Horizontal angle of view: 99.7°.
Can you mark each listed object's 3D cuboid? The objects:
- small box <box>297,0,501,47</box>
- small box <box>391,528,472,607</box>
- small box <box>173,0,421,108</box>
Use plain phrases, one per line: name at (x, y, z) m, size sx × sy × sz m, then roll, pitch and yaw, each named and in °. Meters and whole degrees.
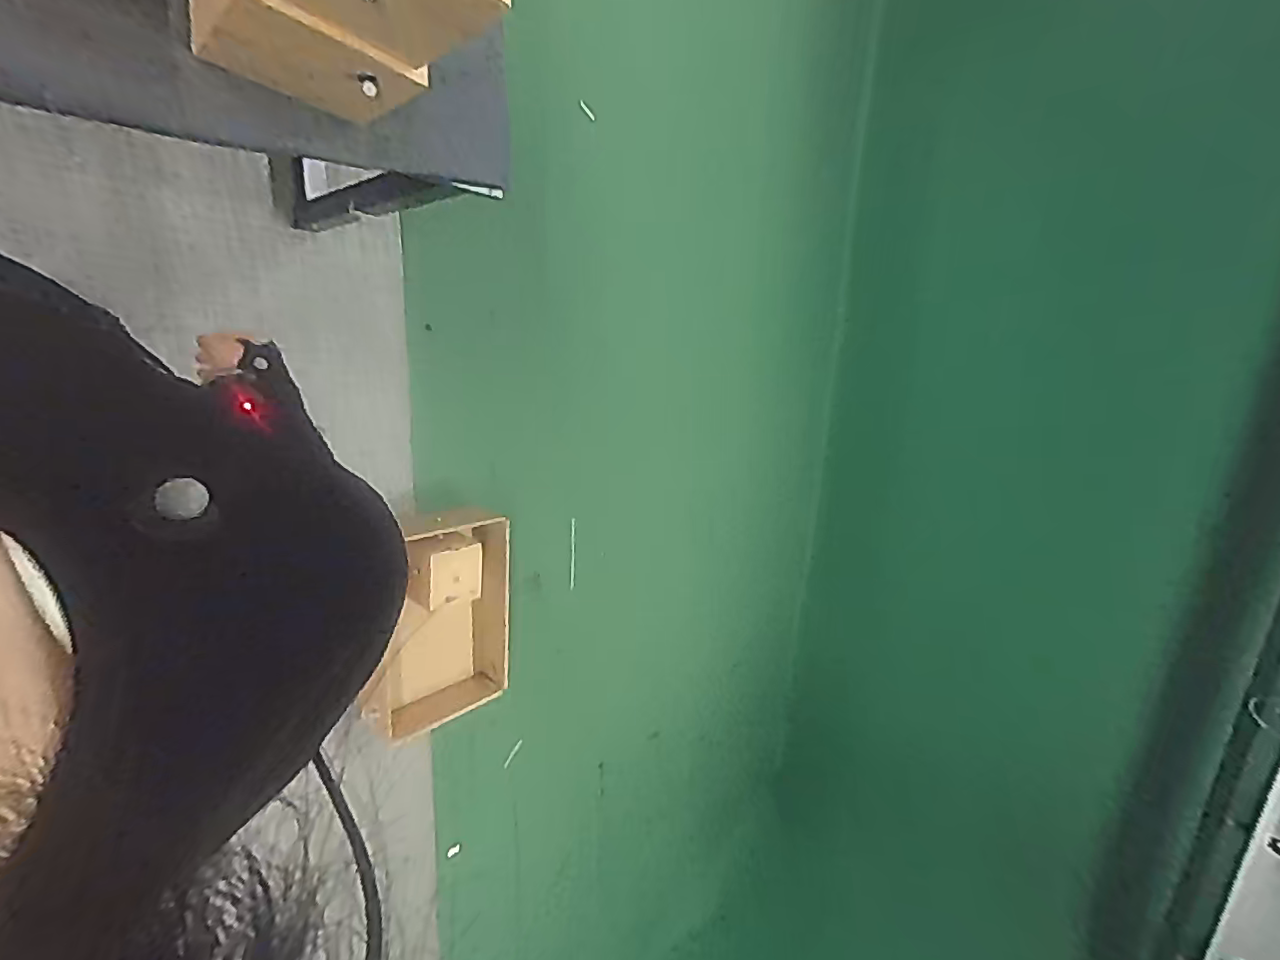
small box at (-0.229, -0.499, 0.440) m, size 0.179 × 0.176 × 0.168 m, roll -7°, pitch 105°, yaw -49°
small box at (-0.612, 0.247, 1.586) m, size 0.168 × 0.176 × 0.179 m, roll -9°, pitch 108°, yaw -49°
small box at (-0.346, -0.516, 0.554) m, size 0.179 × 0.176 × 0.168 m, roll -6°, pitch 103°, yaw -51°
